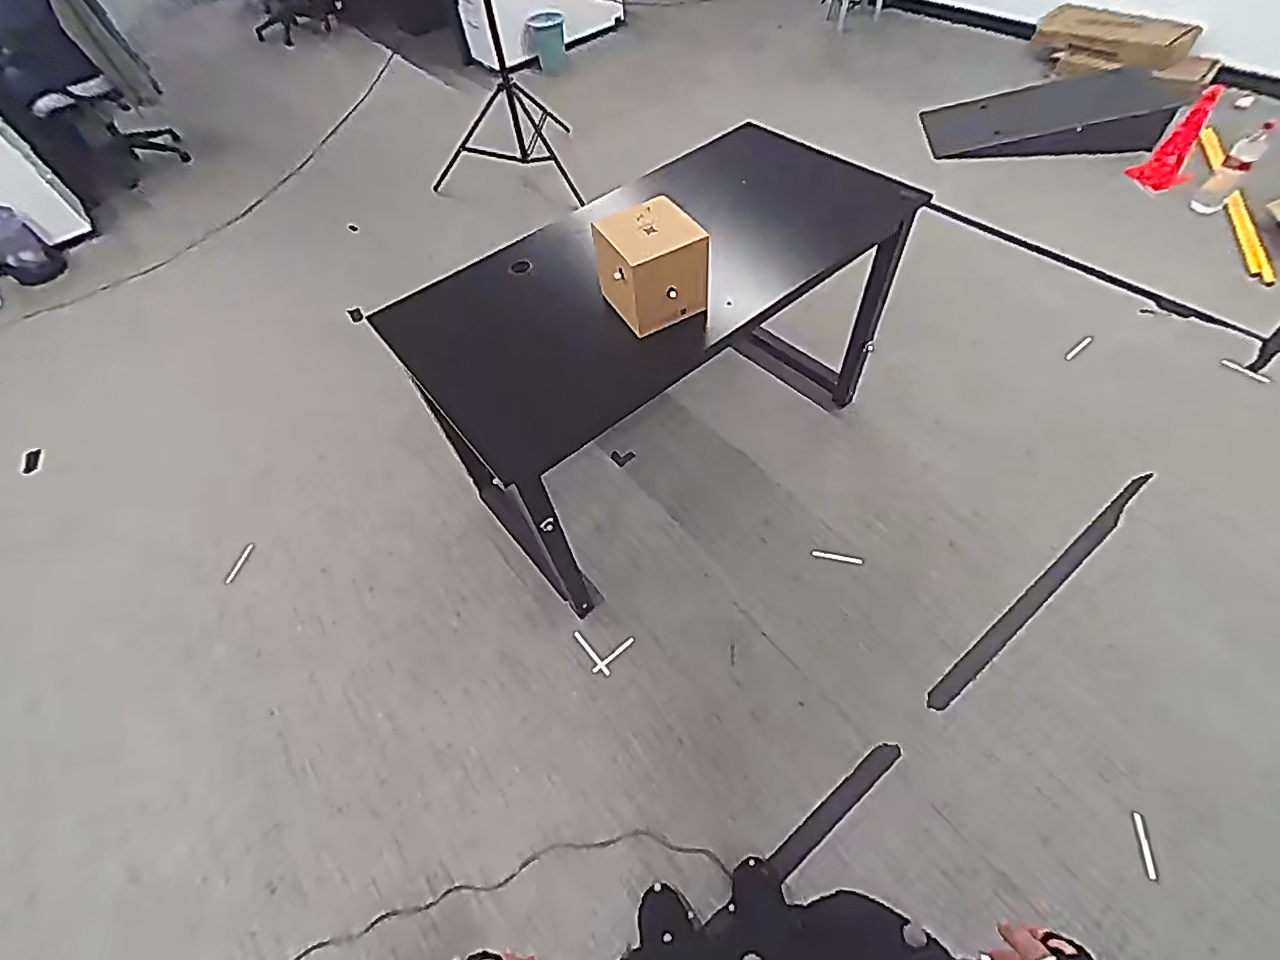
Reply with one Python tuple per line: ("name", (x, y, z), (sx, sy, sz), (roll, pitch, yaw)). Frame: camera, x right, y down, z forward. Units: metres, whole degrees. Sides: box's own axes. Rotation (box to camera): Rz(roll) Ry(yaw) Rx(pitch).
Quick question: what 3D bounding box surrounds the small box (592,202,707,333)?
("small box", (0.023, -0.421, 1.094), (0.168, 0.176, 0.179), (-26, 57, -12))
